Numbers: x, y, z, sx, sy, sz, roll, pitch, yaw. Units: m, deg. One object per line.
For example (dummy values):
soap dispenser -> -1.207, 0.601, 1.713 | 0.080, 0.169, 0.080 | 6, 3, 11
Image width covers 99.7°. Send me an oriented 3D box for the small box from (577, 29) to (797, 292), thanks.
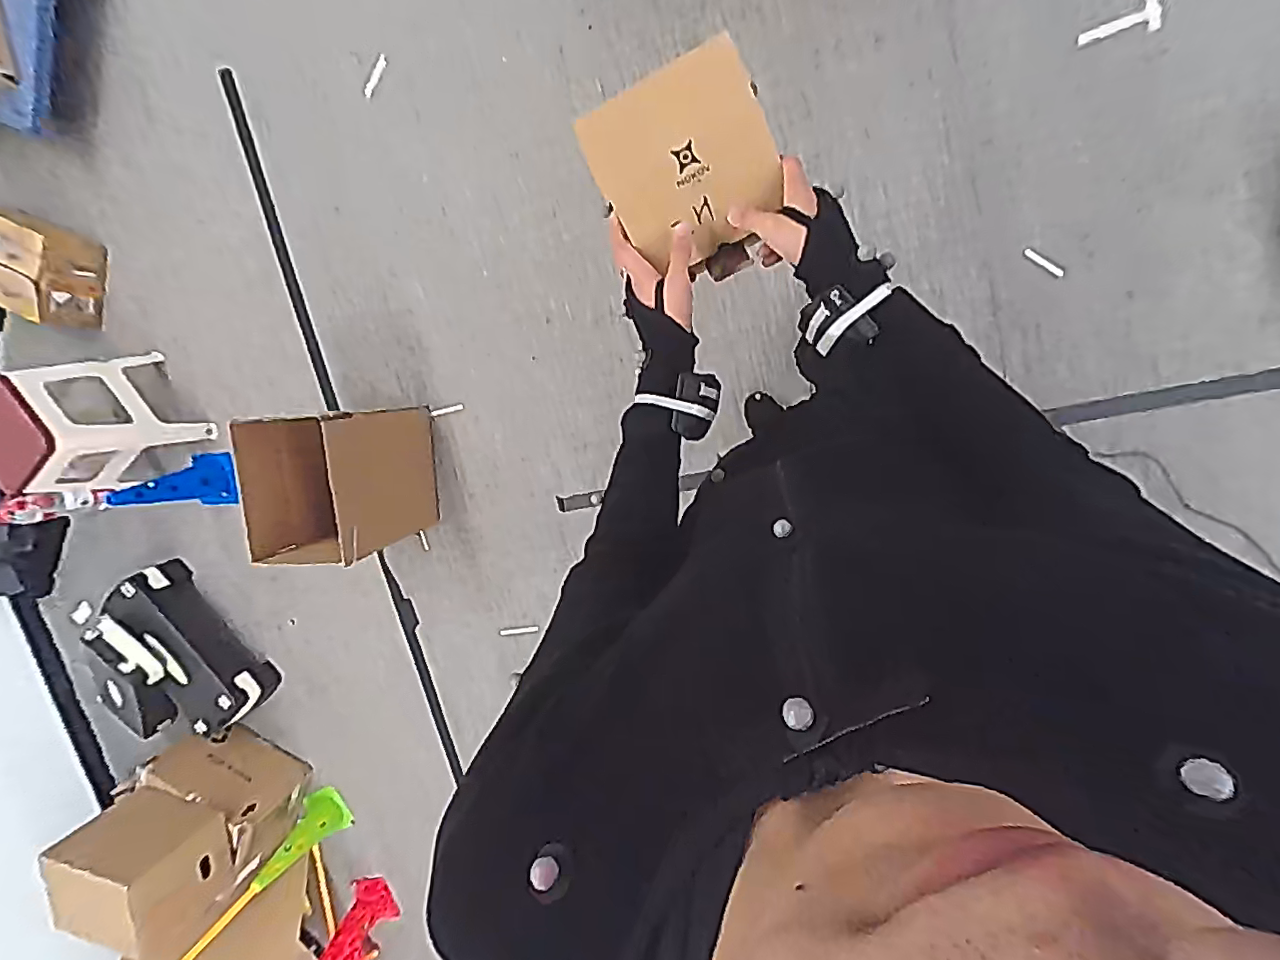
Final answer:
small box -> 0.047, -0.331, 0.605 | 0.168, 0.176, 0.179 | -26, 104, 8
